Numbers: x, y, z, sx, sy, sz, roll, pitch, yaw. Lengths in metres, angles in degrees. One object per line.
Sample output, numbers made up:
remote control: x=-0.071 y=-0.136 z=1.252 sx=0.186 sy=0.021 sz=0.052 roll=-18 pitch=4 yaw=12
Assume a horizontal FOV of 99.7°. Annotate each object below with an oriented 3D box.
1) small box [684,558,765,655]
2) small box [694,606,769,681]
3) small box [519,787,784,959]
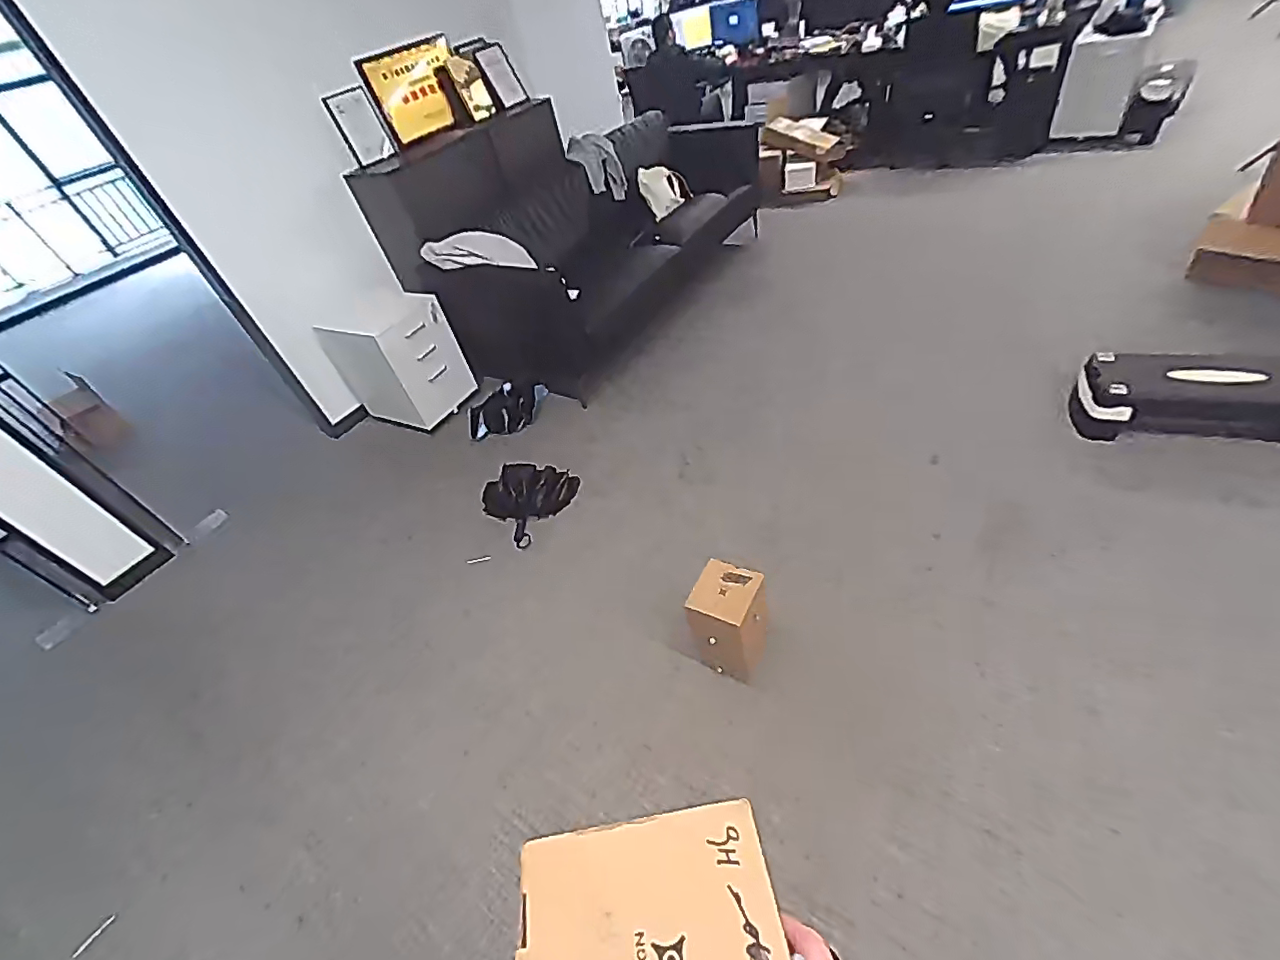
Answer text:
small box: x=0.243 y=0.353 z=1.515 sx=0.168 sy=0.176 sz=0.179 roll=14 pitch=50 yaw=31
small box: x=0.283 y=0.468 z=1.627 sx=0.168 sy=0.176 sz=0.179 roll=14 pitch=51 yaw=31
small box: x=0.007 y=0.364 z=0.423 sx=0.179 sy=0.176 sz=0.168 roll=-6 pitch=48 yaw=-6
